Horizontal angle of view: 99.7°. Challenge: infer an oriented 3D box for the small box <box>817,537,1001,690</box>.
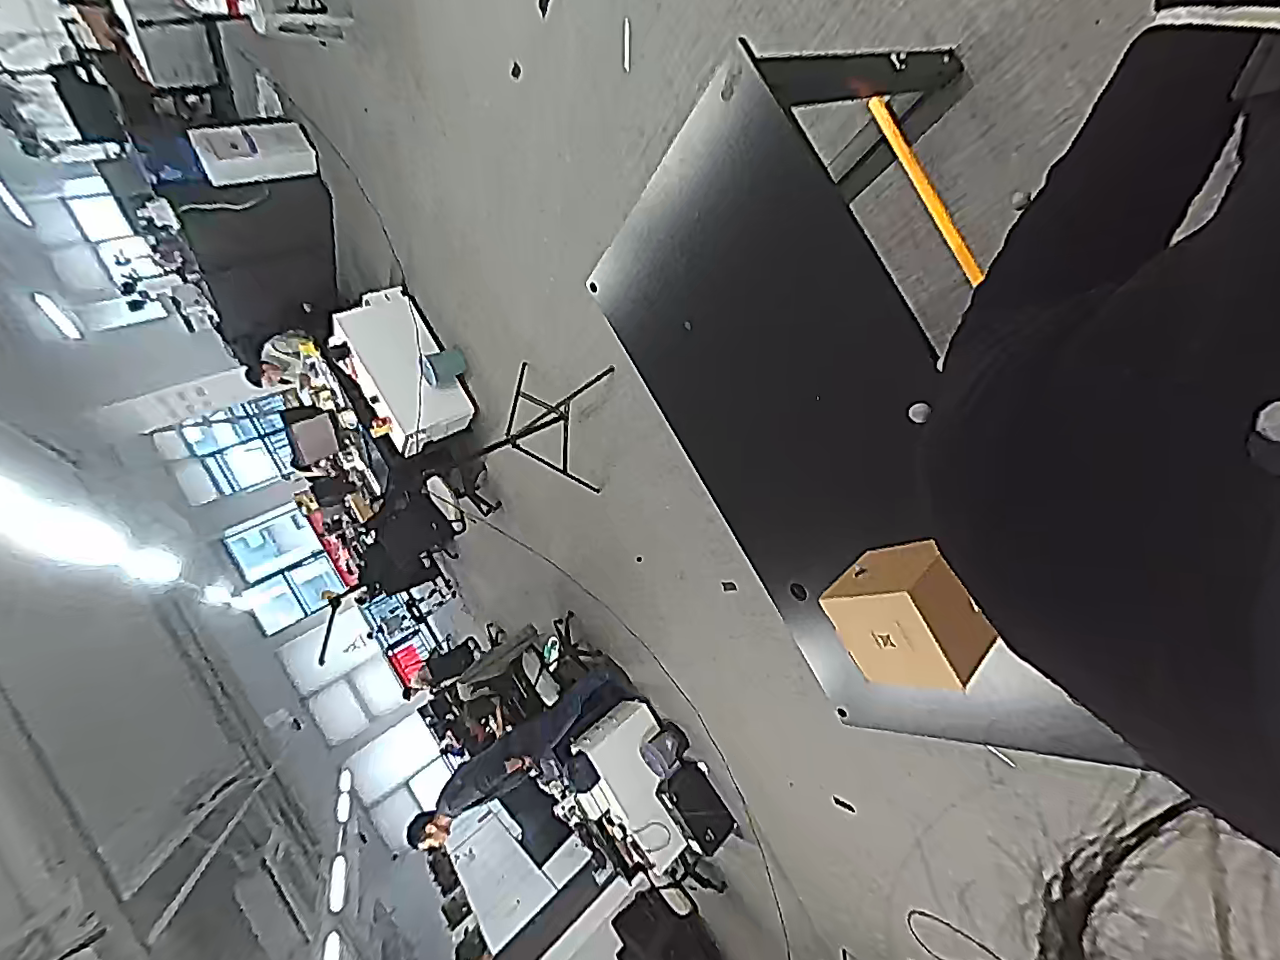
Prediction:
[{"bbox_3d":[0.433,0.212,0.875,0.168,0.176,0.179,59,148,0],"label":"small box"}]
